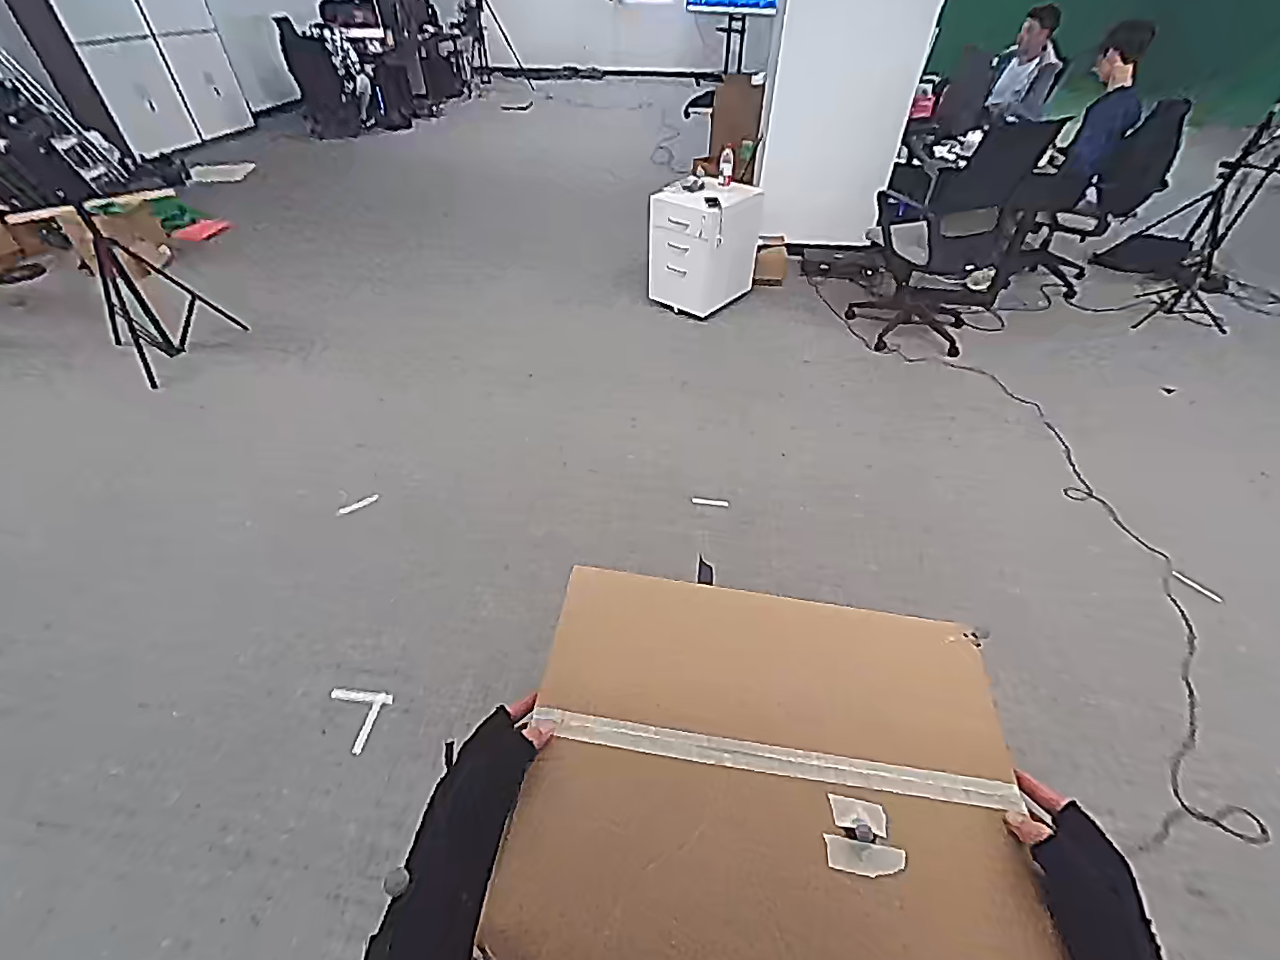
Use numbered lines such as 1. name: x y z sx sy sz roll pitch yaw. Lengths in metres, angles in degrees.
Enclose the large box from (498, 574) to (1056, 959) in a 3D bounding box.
1. large box: 0.103 0.332 0.576 0.408 0.320 0.320 8 49 2
